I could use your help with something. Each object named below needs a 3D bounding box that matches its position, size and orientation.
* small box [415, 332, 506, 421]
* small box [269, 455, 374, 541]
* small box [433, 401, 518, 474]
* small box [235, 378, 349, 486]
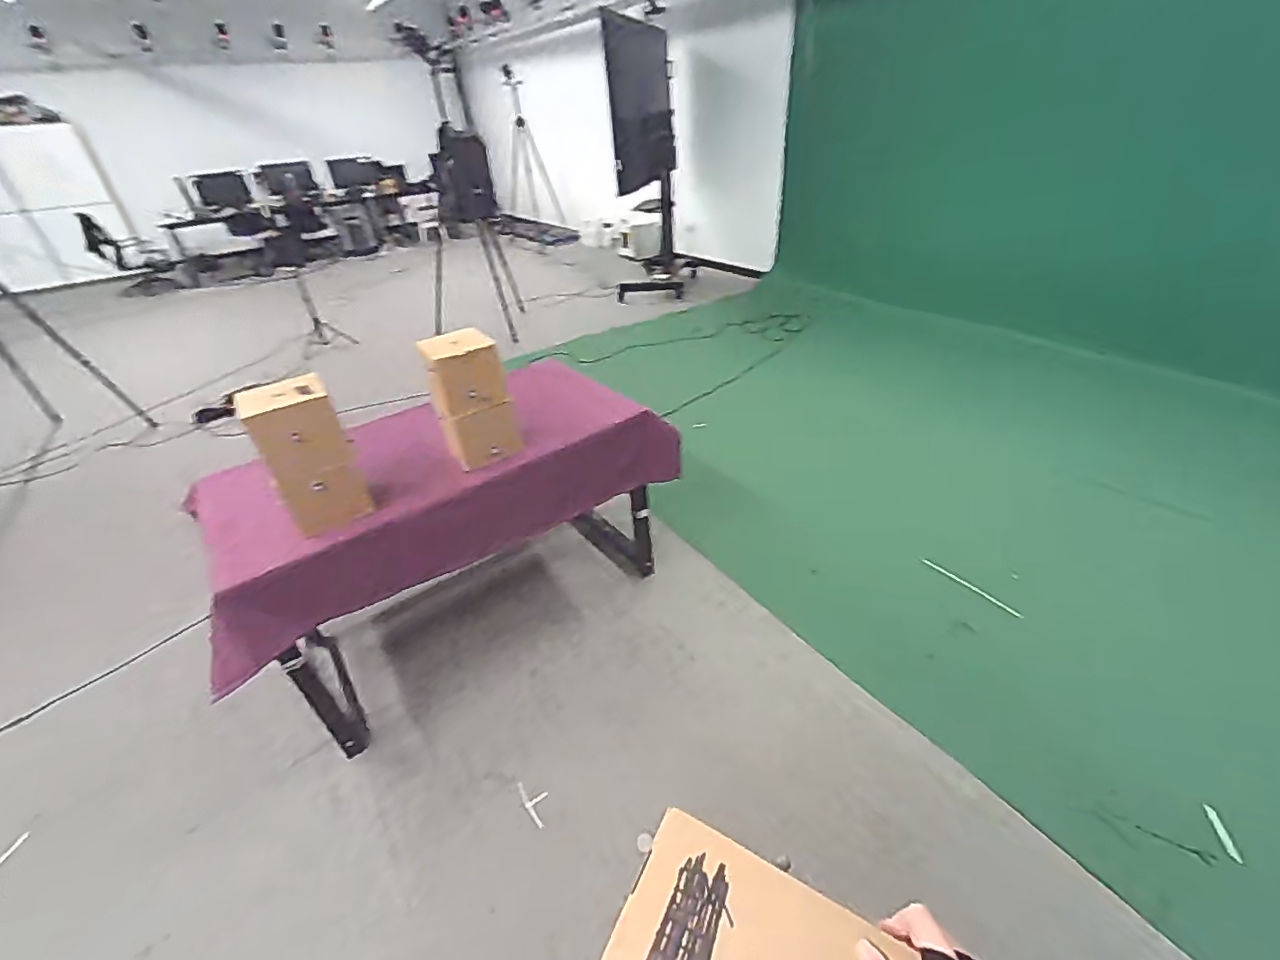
[{"bbox_3d":[-0.485,-0.281,1.466,0.168,0.176,0.179,-25,40,-26],"label":"small box"},{"bbox_3d":[-0.796,0.024,1.352,0.179,0.176,0.168,-24,39,-26],"label":"small box"},{"bbox_3d":[-0.465,-0.143,1.551,0.179,0.176,0.168,-25,38,-27],"label":"small box"},{"bbox_3d":[-0.805,-0.114,1.263,0.179,0.176,0.168,-25,40,-26],"label":"small box"}]
